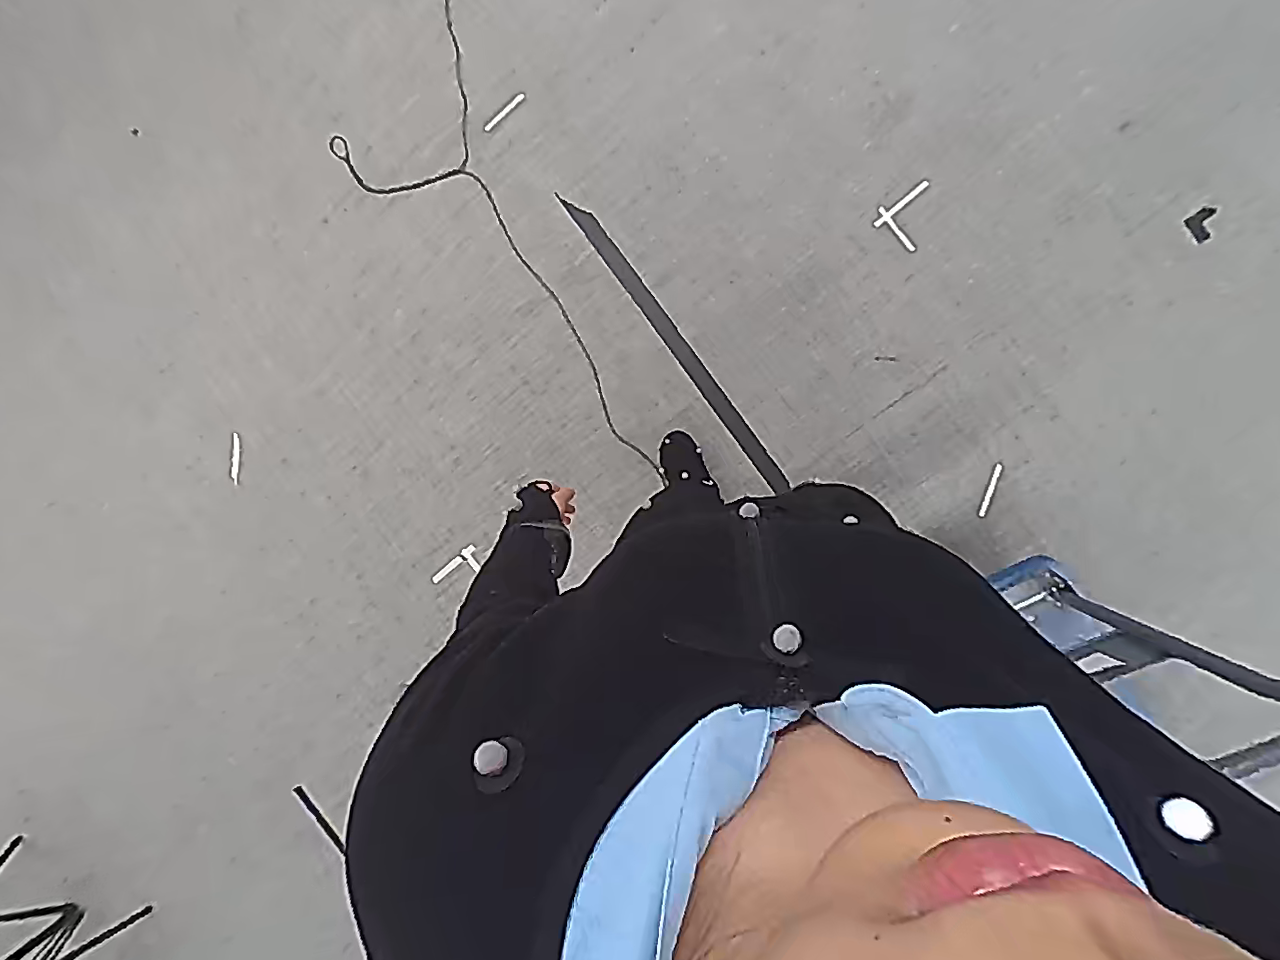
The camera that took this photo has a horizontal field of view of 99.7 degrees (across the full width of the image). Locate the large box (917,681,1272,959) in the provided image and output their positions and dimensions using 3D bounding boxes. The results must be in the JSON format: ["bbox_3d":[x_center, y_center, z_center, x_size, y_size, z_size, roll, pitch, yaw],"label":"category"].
[{"bbox_3d":[0.881,0.693,1.121,0.408,0.320,0.320,-30,90,10],"label":"large box"}]
